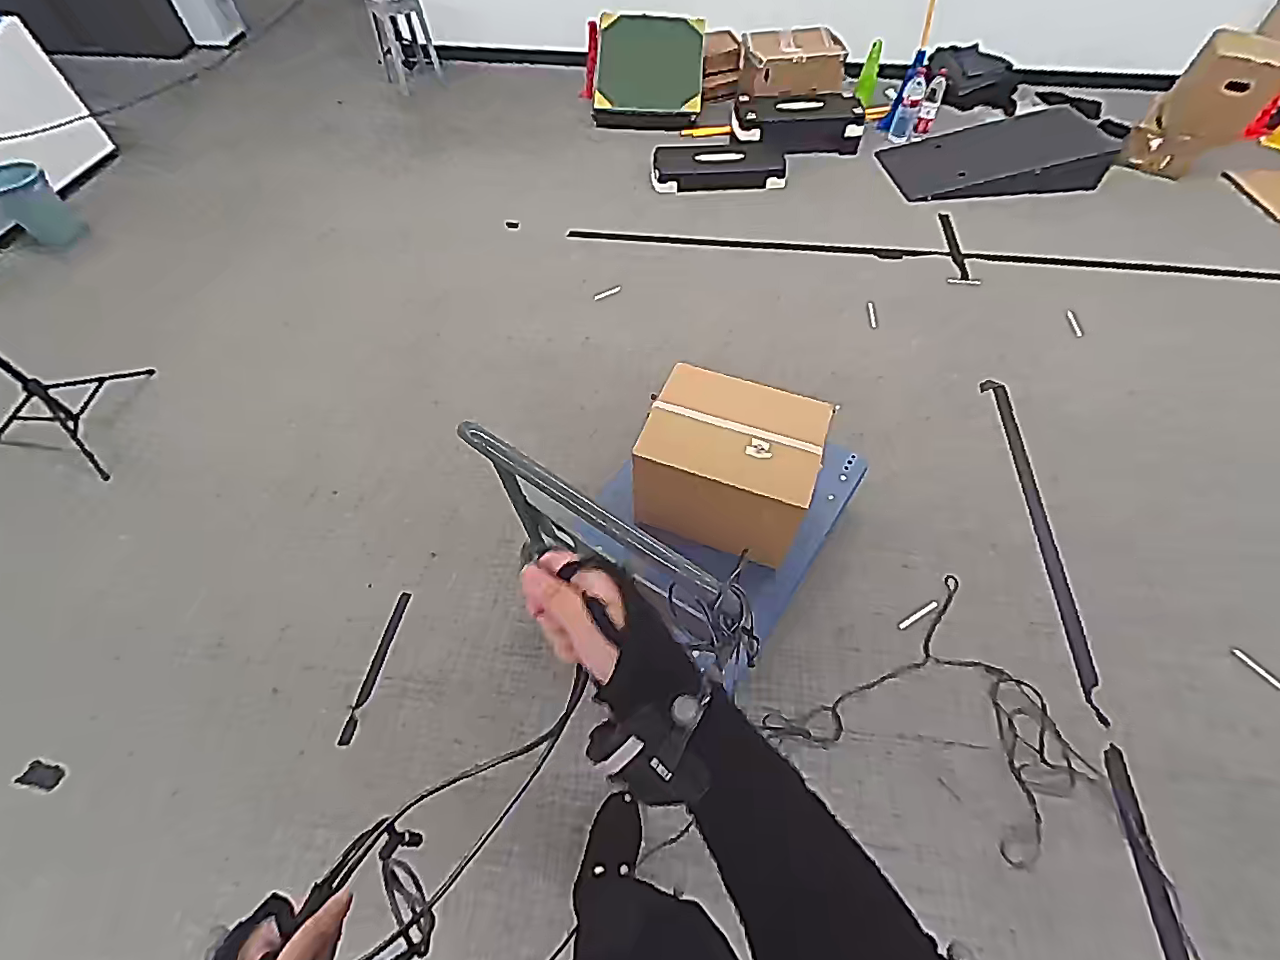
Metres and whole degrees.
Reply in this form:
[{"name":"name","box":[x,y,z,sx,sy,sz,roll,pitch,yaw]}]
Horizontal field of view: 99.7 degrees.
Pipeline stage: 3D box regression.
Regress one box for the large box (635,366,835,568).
[{"name":"large box","box":[0.223,-0.030,1.366,0.408,0.320,0.320,19,59,12]}]
